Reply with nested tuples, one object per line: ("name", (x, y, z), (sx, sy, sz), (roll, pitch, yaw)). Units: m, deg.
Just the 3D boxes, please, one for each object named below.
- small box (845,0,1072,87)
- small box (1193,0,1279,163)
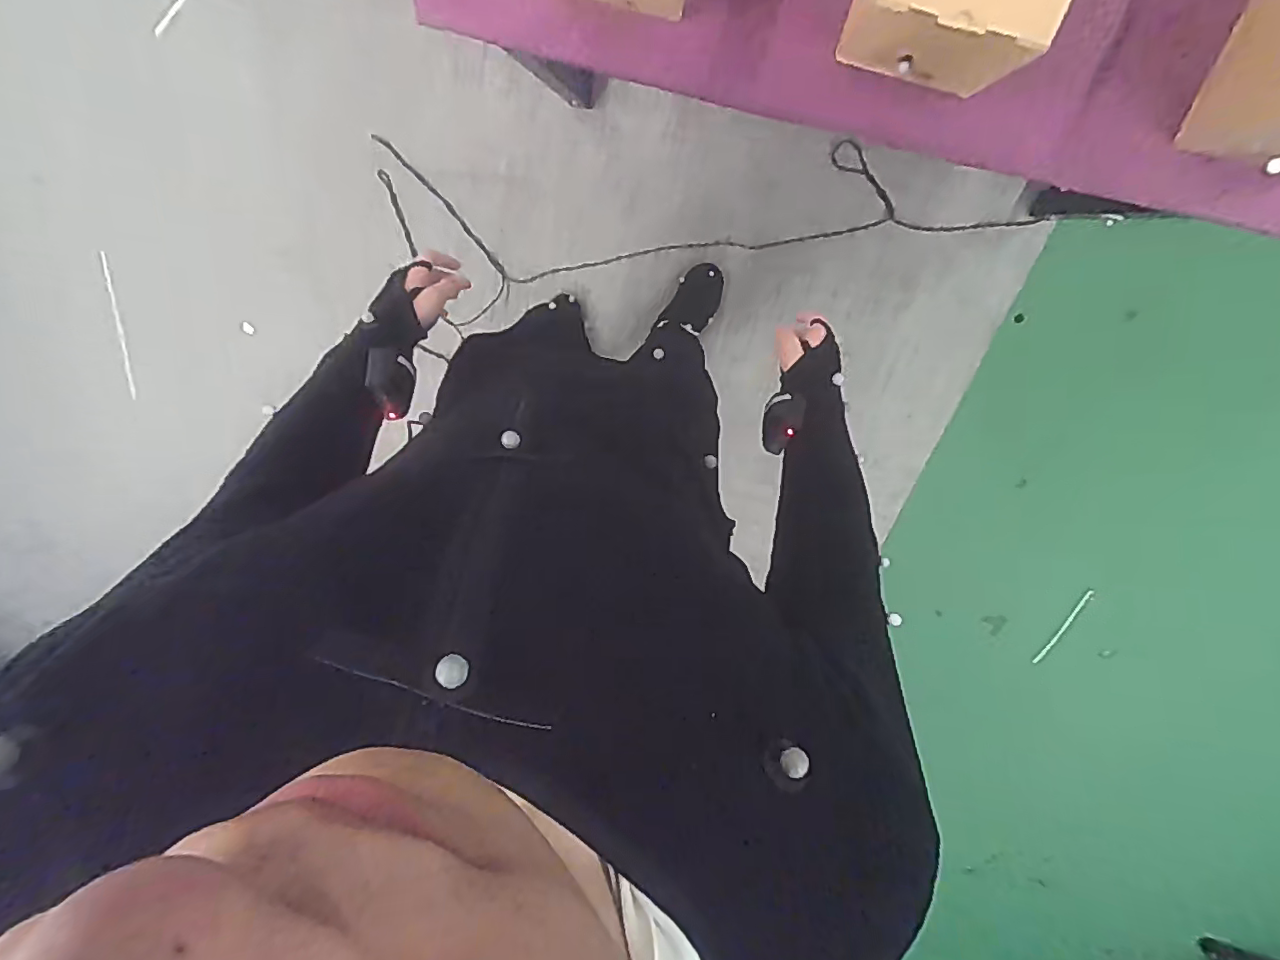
("small box", (0.317, -0.516, 0.517), (0.168, 0.176, 0.179), (16, 116, 1))
("small box", (0.700, -0.412, 0.505), (0.168, 0.176, 0.179), (14, 117, 3))
